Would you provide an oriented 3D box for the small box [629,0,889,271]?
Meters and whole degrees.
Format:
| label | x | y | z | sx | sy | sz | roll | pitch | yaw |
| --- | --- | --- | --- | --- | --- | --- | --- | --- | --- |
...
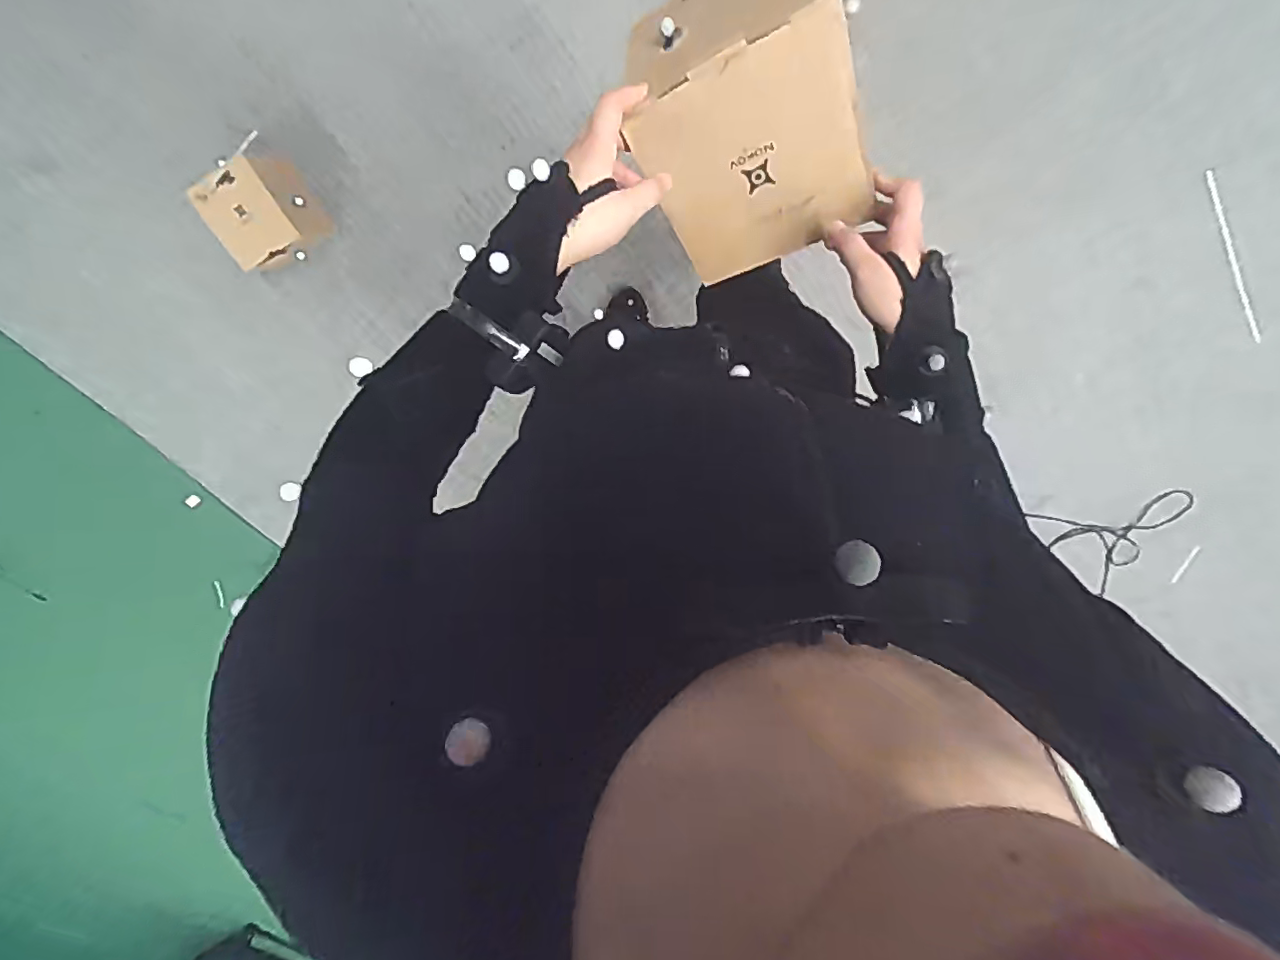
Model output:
| label | x | y | z | sx | sy | sz | roll | pitch | yaw |
| --- | --- | --- | --- | --- | --- | --- | --- | --- | --- |
| small box | 0.104 | -0.331 | 0.474 | 0.168 | 0.176 | 0.179 | -14 | 147 | 28 |

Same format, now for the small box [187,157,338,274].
| label | x | y | z | sx | sy | sz | roll | pitch | yaw |
| --- | --- | --- | --- | --- | --- | --- | --- | --- | --- |
| small box | -0.816 | -0.584 | 1.191 | 0.168 | 0.176 | 0.179 | -23 | 116 | 13 |
